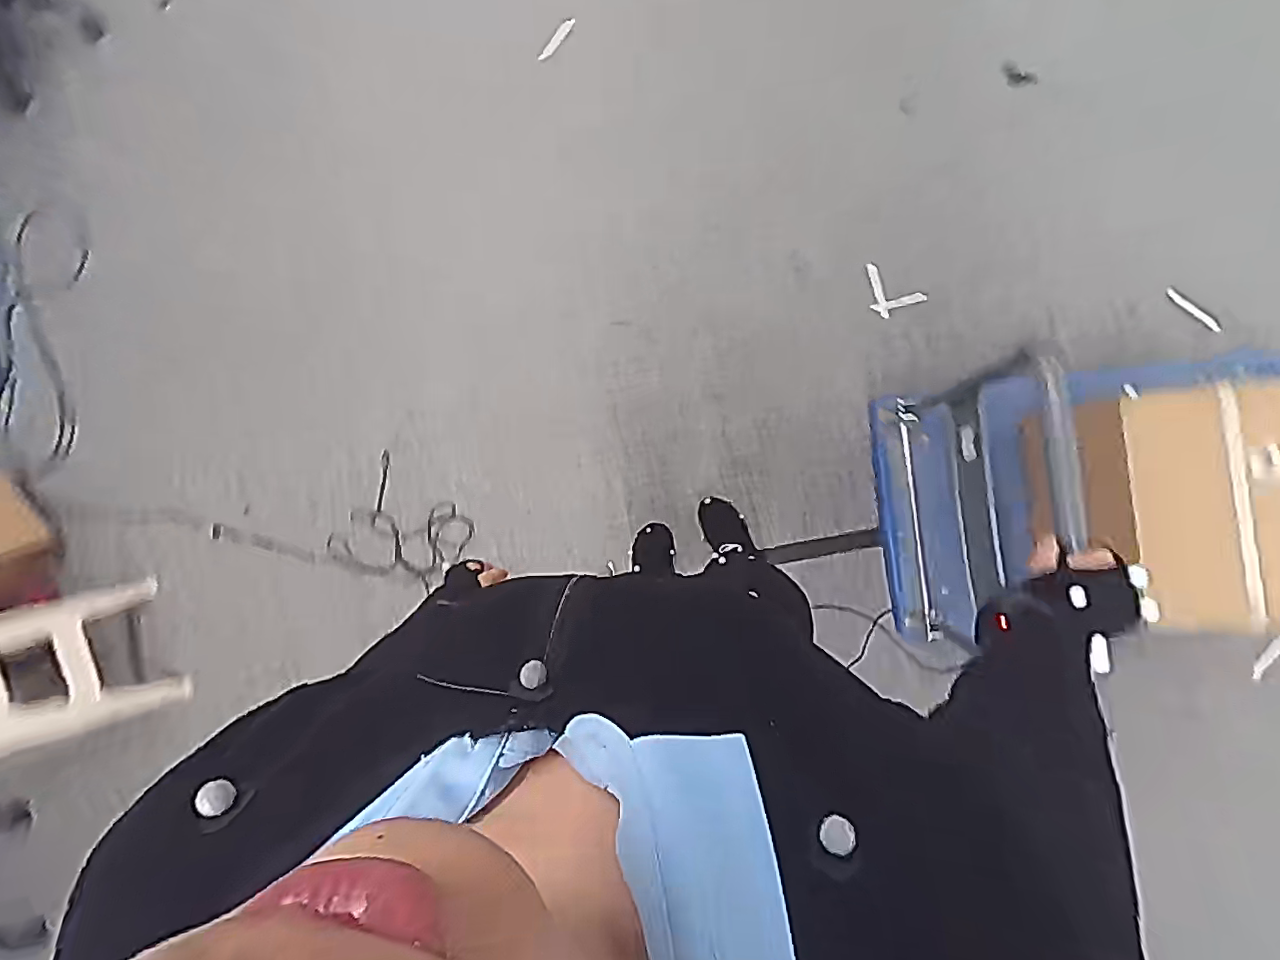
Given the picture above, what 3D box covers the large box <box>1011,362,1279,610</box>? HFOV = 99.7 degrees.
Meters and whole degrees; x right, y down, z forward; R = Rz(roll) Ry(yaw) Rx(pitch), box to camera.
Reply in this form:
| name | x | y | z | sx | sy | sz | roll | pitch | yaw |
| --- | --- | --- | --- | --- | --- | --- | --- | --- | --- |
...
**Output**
| name | x | y | z | sx | sy | sz | roll | pitch | yaw |
| --- | --- | --- | --- | --- | --- | --- | --- | --- | --- |
| large box | 1.004 | 0.019 | 1.073 | 0.320 | 0.320 | 0.408 | -6 | 86 | 7 |
